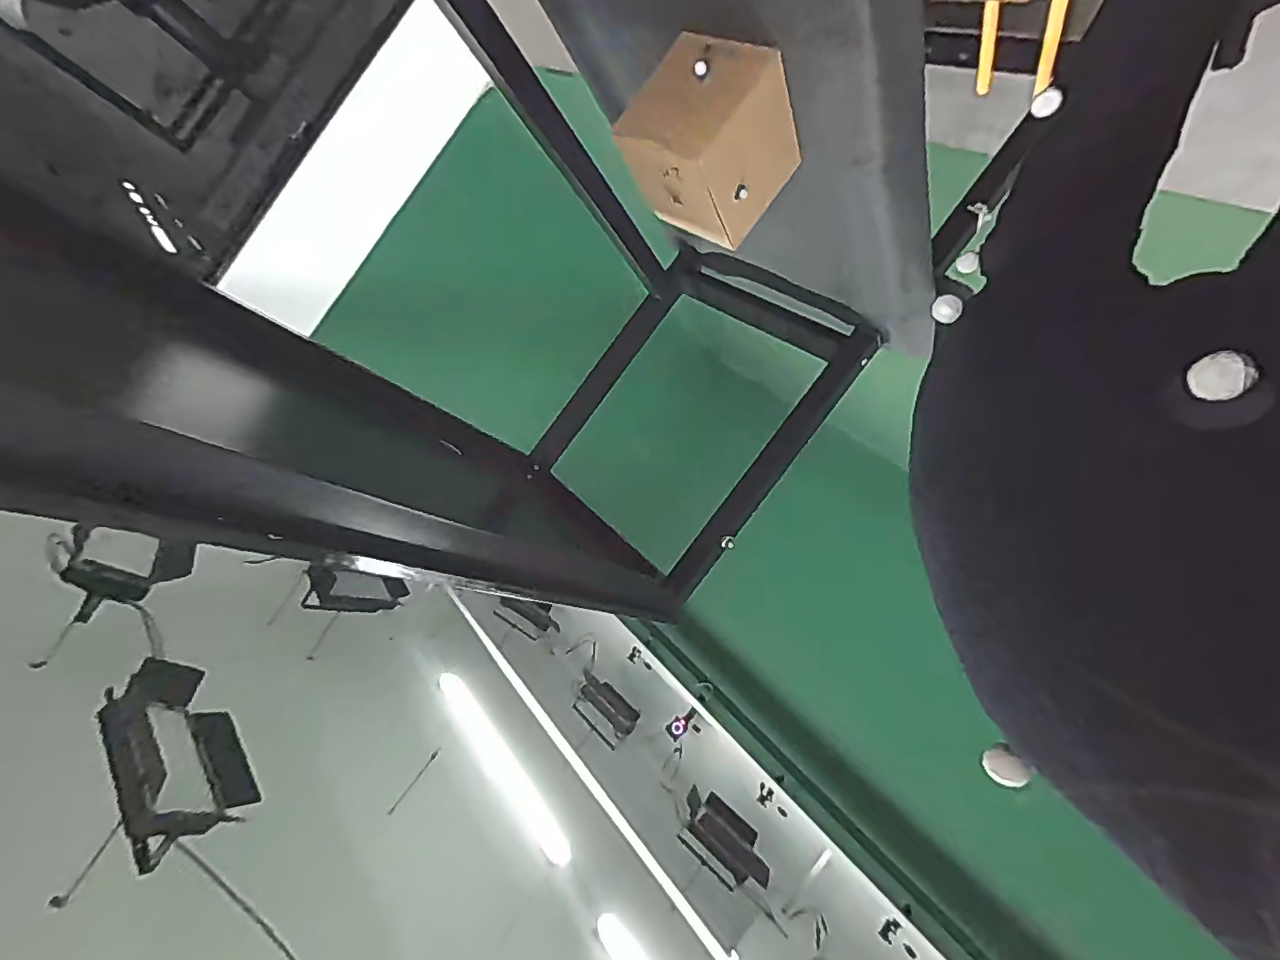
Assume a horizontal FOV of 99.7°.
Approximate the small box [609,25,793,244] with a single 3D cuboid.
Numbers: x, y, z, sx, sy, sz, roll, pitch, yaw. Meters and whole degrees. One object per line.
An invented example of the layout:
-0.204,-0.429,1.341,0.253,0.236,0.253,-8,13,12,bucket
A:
0.095,-0.481,0.764,0.168,0.176,0.179,38,-178,29,small box
